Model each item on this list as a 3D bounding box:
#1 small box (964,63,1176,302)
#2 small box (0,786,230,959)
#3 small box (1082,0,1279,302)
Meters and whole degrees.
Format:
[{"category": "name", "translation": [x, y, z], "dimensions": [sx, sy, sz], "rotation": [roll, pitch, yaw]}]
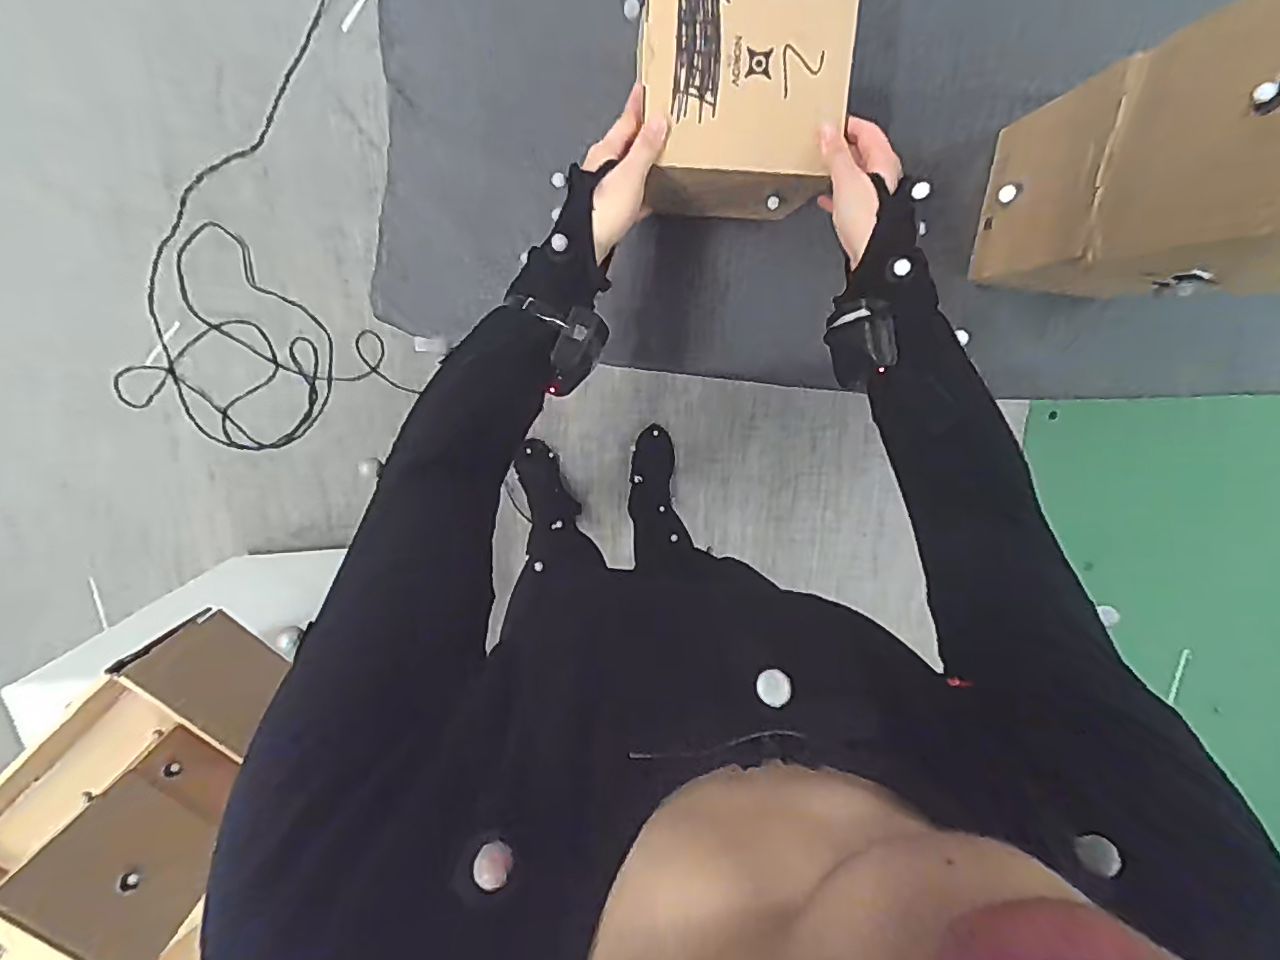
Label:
[{"category": "small box", "translation": [0.483, -0.283, 0.556], "dimensions": [0.179, 0.176, 0.168], "rotation": [6, 102, -3]}, {"category": "small box", "translation": [-0.654, 0.501, 0.636], "dimensions": [0.168, 0.176, 0.179], "rotation": [-39, 104, 9]}, {"category": "small box", "translation": [0.486, -0.239, 0.400], "dimensions": [0.168, 0.176, 0.179], "rotation": [8, 104, -2]}]
